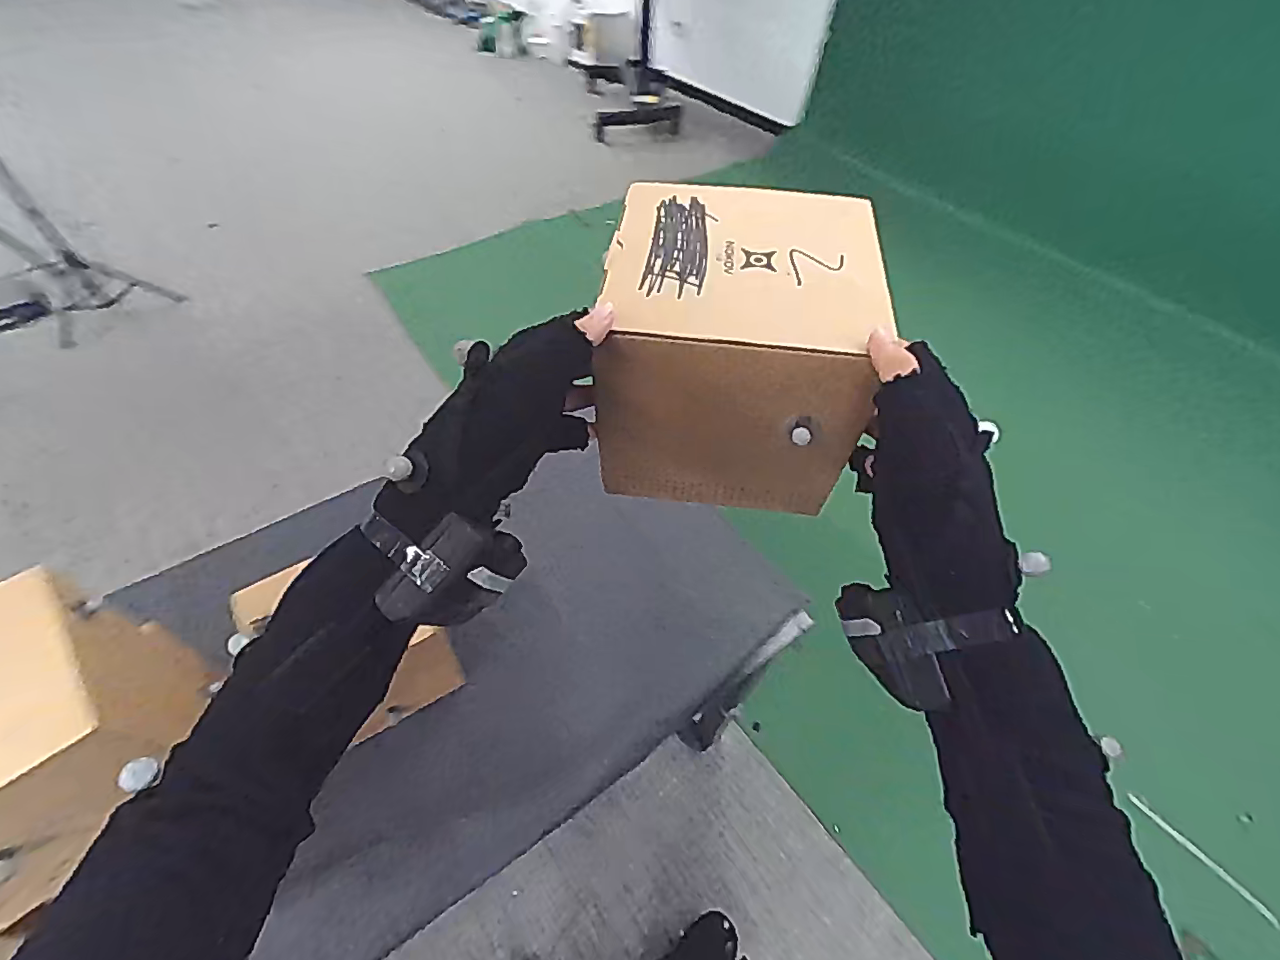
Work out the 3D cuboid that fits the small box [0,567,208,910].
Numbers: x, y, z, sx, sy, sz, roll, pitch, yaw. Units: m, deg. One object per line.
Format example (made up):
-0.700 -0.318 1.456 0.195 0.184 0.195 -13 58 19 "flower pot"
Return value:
-0.496 0.210 0.429 0.168 0.176 0.179 -35 61 -29 "small box"
